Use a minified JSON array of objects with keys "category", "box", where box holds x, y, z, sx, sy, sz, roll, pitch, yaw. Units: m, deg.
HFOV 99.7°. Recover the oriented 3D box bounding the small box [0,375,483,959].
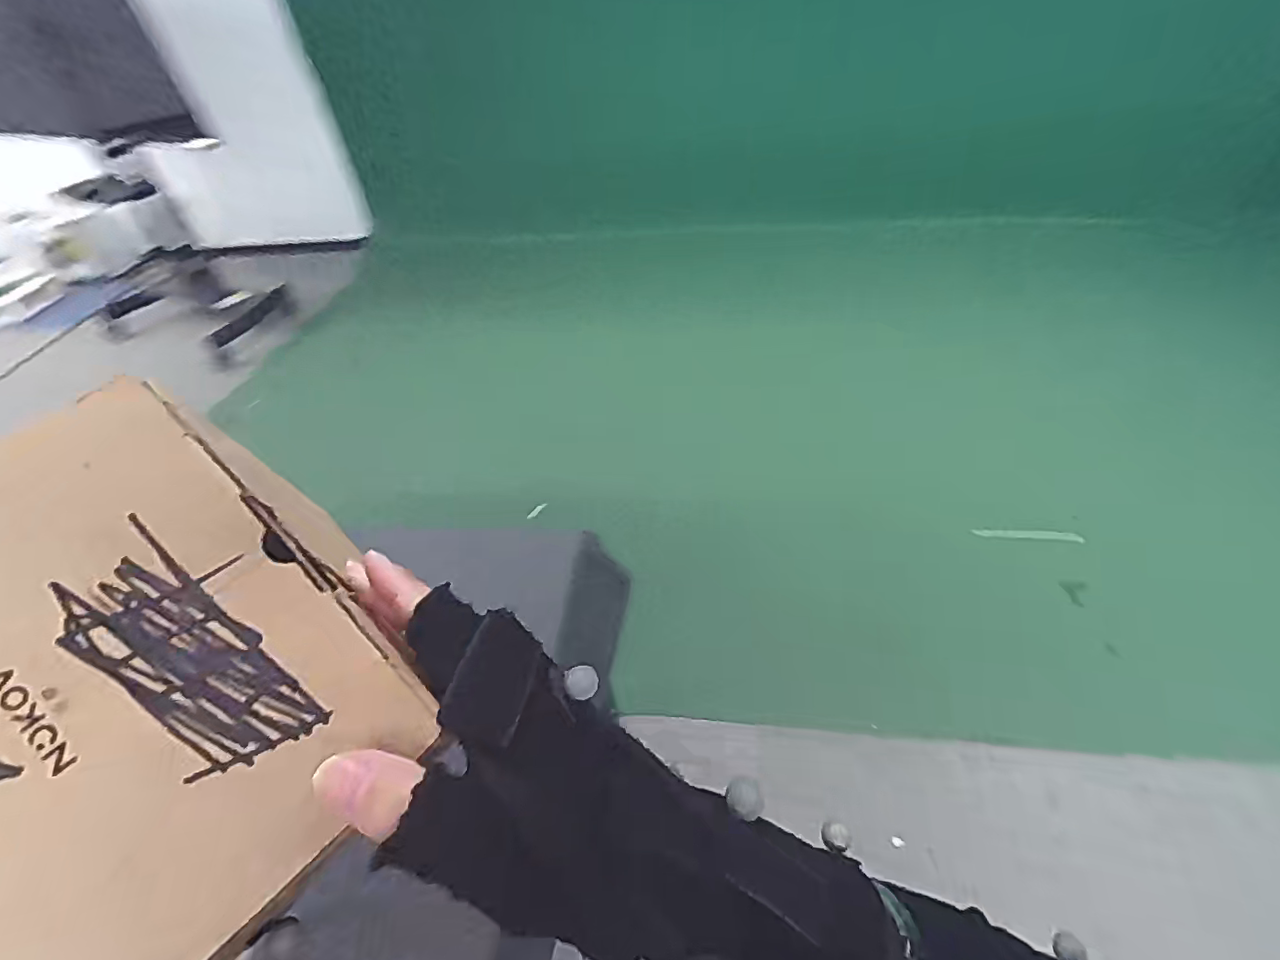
[{"category":"small box","box":[-0.184,0.095,0.230,0.179,0.176,0.168,-38,79,-19]}]
